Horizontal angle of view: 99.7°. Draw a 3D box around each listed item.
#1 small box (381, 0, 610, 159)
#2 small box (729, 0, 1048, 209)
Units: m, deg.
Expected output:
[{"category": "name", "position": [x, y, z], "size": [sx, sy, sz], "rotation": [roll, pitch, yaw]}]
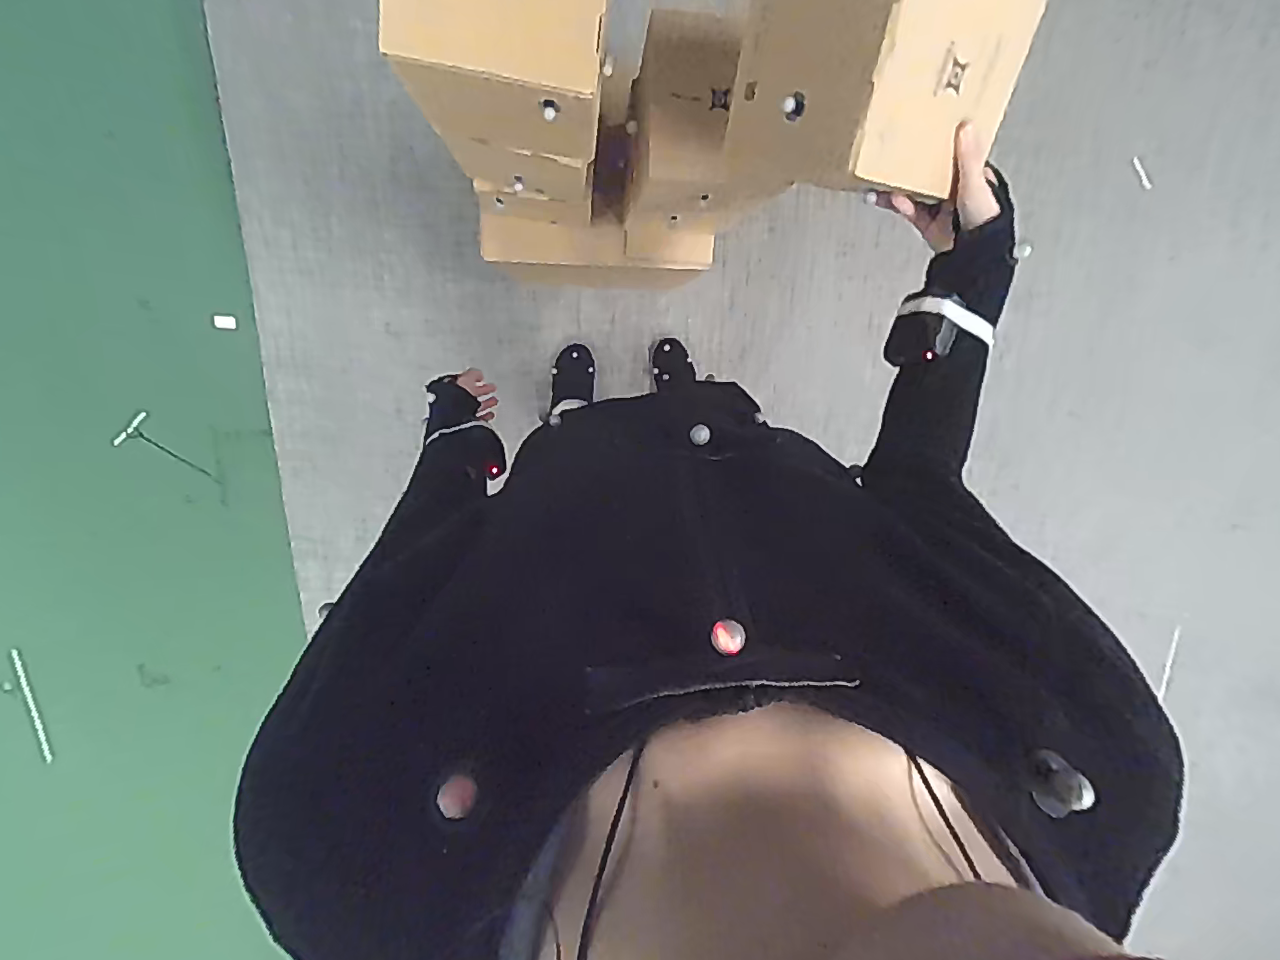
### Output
[{"category": "small box", "position": [-0.121, -0.427, 0.508], "size": [0.179, 0.176, 0.168], "rotation": [6, 103, -8]}, {"category": "small box", "position": [0.207, -0.354, 0.486], "size": [0.179, 0.176, 0.168], "rotation": [-9, 124, -33]}]
